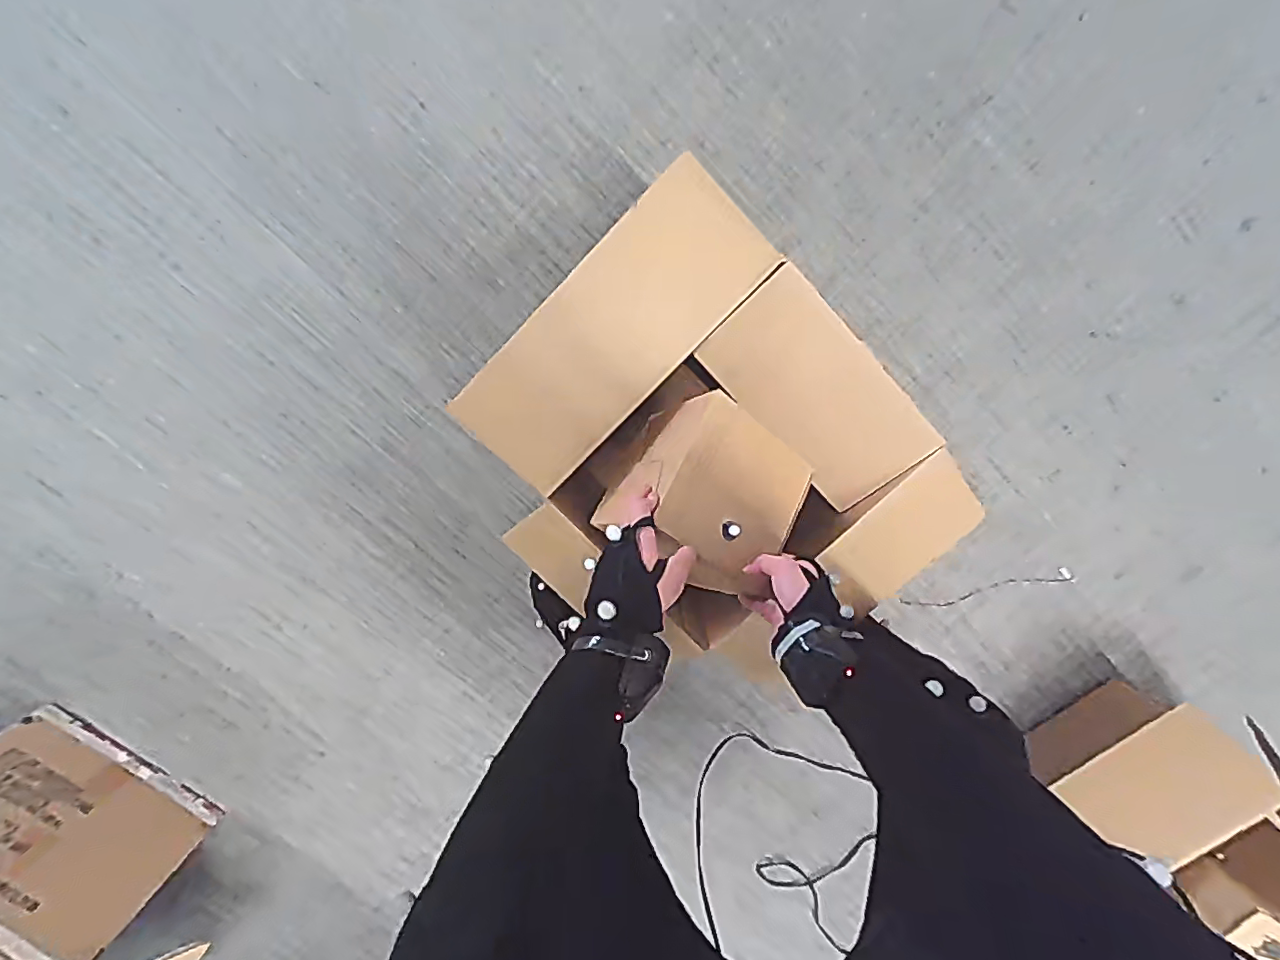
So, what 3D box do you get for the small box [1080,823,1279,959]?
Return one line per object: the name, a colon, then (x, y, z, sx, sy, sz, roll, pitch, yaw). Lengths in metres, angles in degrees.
small box: (0.876, 0.703, 0.865, 0.168, 0.176, 0.179, 37, 99, -8)
